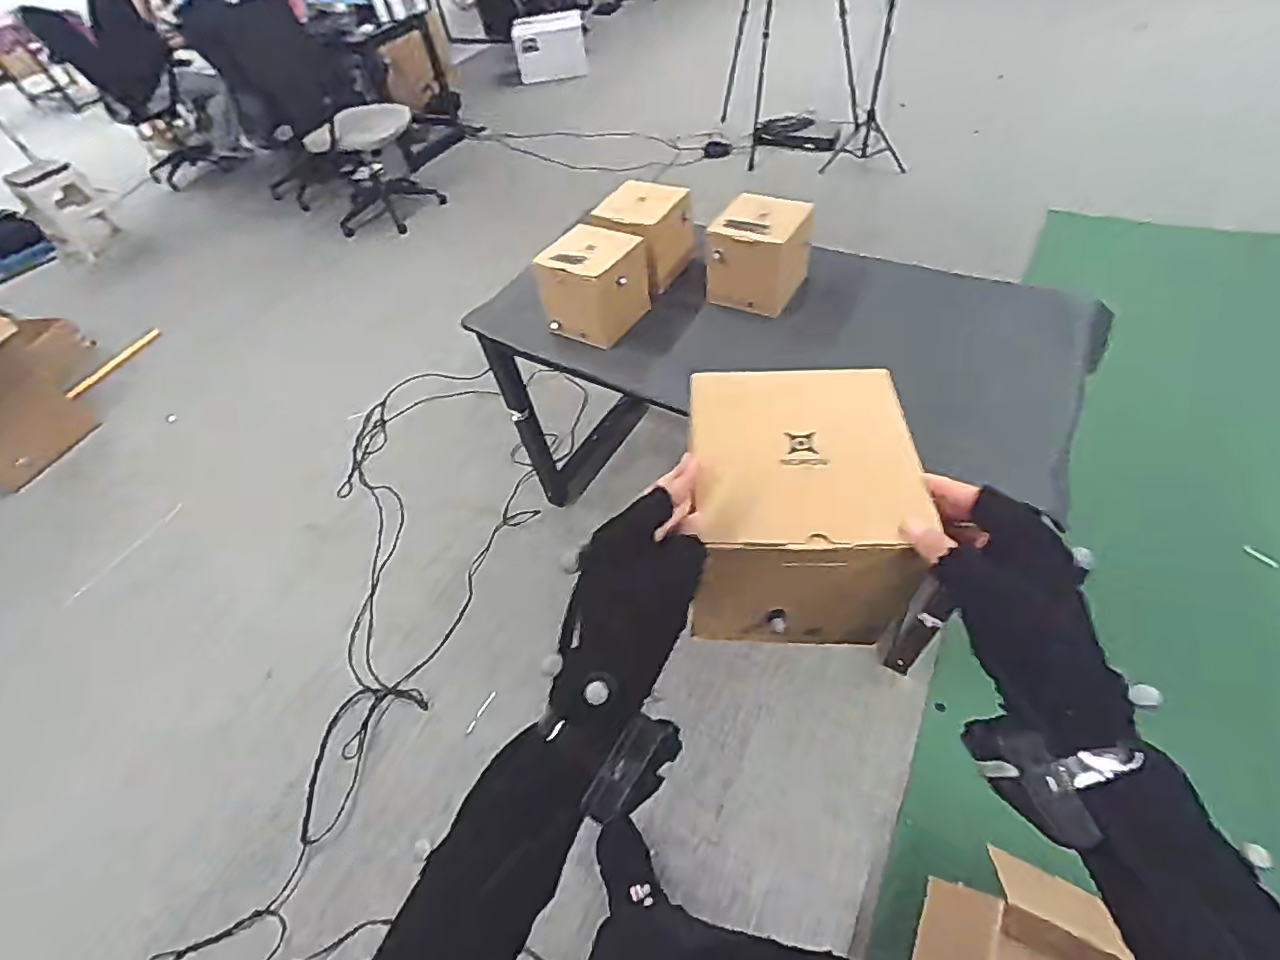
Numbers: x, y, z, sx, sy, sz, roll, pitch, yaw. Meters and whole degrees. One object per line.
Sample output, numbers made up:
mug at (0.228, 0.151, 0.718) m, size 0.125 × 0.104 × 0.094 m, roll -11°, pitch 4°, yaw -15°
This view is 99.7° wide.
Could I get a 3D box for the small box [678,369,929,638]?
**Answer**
small box at (0.118, 0.024, 0.477) m, size 0.168 × 0.176 × 0.179 m, roll -2°, pitch 53°, yaw 3°
